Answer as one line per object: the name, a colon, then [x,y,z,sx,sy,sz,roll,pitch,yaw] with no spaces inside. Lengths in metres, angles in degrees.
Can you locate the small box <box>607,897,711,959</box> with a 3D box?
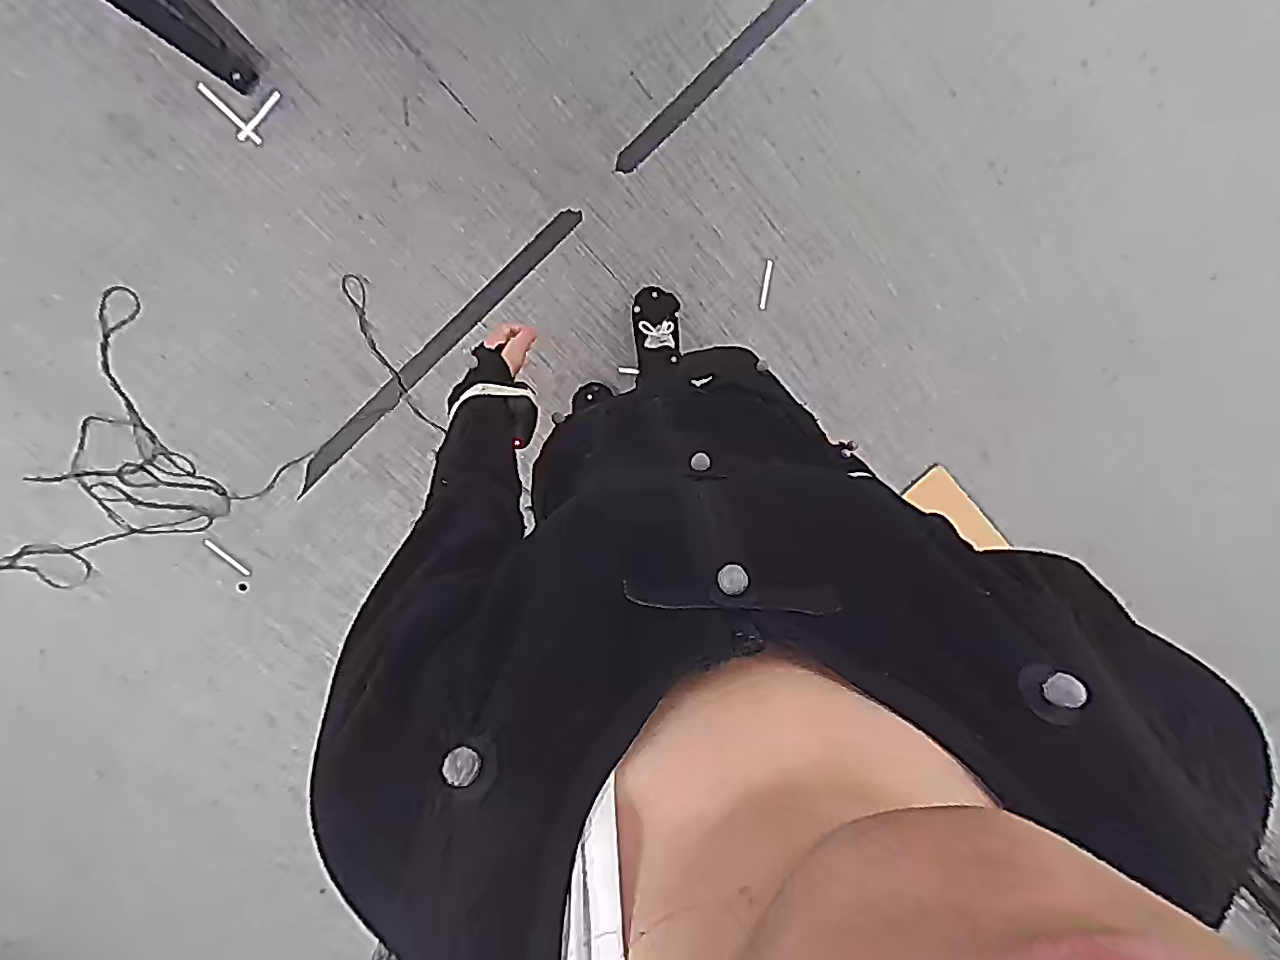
small box: [0.031,0.929,1.018,0.179,0.176,0.168,6,105,-6]

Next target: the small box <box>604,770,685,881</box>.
small box: [0.005,0.848,1.337,0.179,0.176,0.168,5,104,-5]
